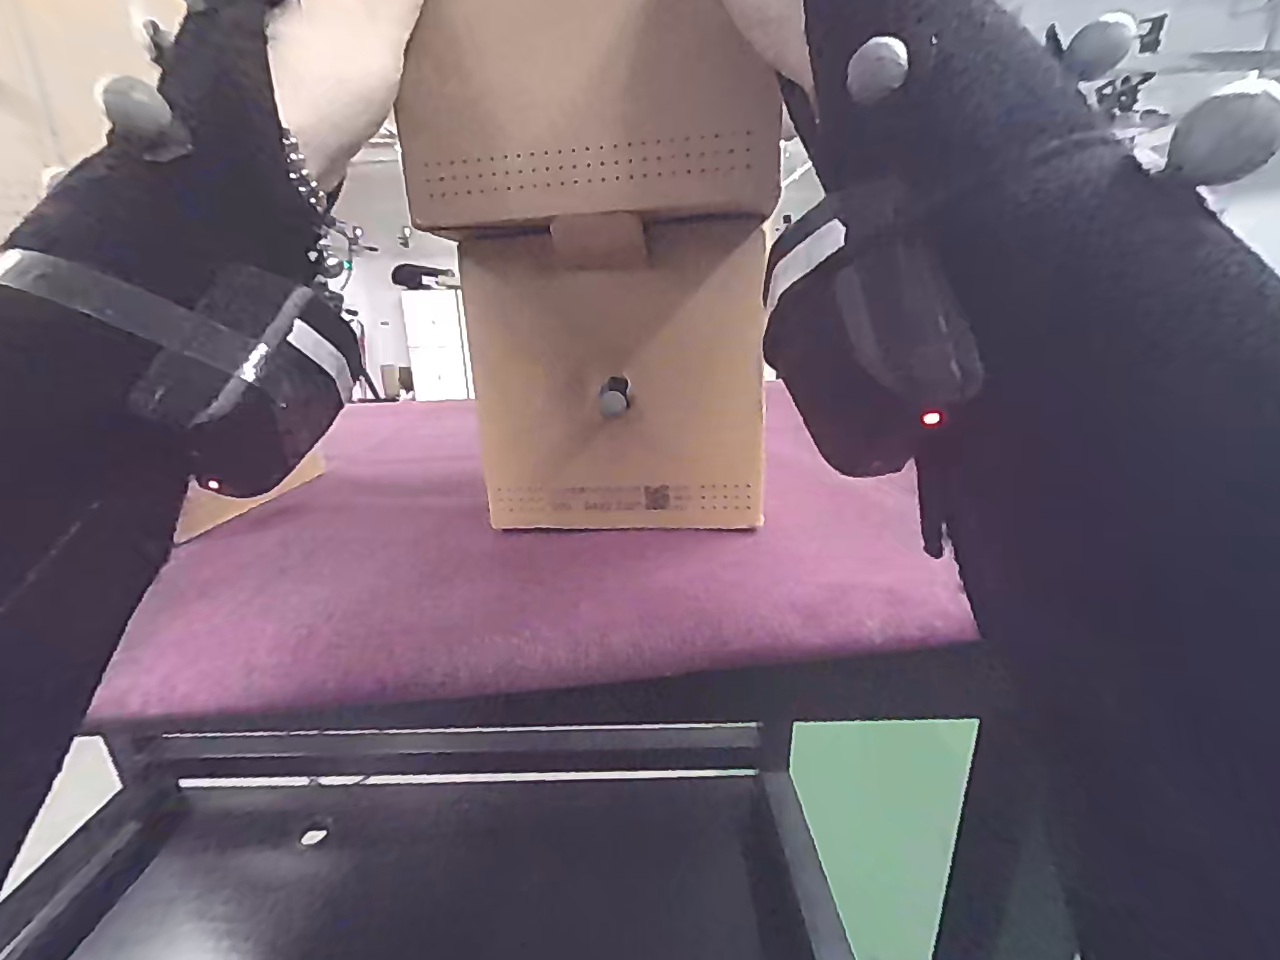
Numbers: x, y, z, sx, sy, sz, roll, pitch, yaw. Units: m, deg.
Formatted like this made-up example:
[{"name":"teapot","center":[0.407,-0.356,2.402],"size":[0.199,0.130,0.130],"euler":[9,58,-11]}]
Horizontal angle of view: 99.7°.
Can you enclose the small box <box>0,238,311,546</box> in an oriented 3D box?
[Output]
[{"name":"small box","center":[-0.367,-0.061,0.369],"size":[0.179,0.176,0.168],"euler":[-1,17,0]}]

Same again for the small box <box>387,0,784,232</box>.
[{"name":"small box","center":[-0.018,-0.225,0.293],"size":[0.179,0.176,0.168],"euler":[0,16,8]}]

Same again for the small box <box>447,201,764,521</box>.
[{"name":"small box","center":[-0.005,-0.076,0.370],"size":[0.168,0.176,0.179],"euler":[-1,17,7]}]
